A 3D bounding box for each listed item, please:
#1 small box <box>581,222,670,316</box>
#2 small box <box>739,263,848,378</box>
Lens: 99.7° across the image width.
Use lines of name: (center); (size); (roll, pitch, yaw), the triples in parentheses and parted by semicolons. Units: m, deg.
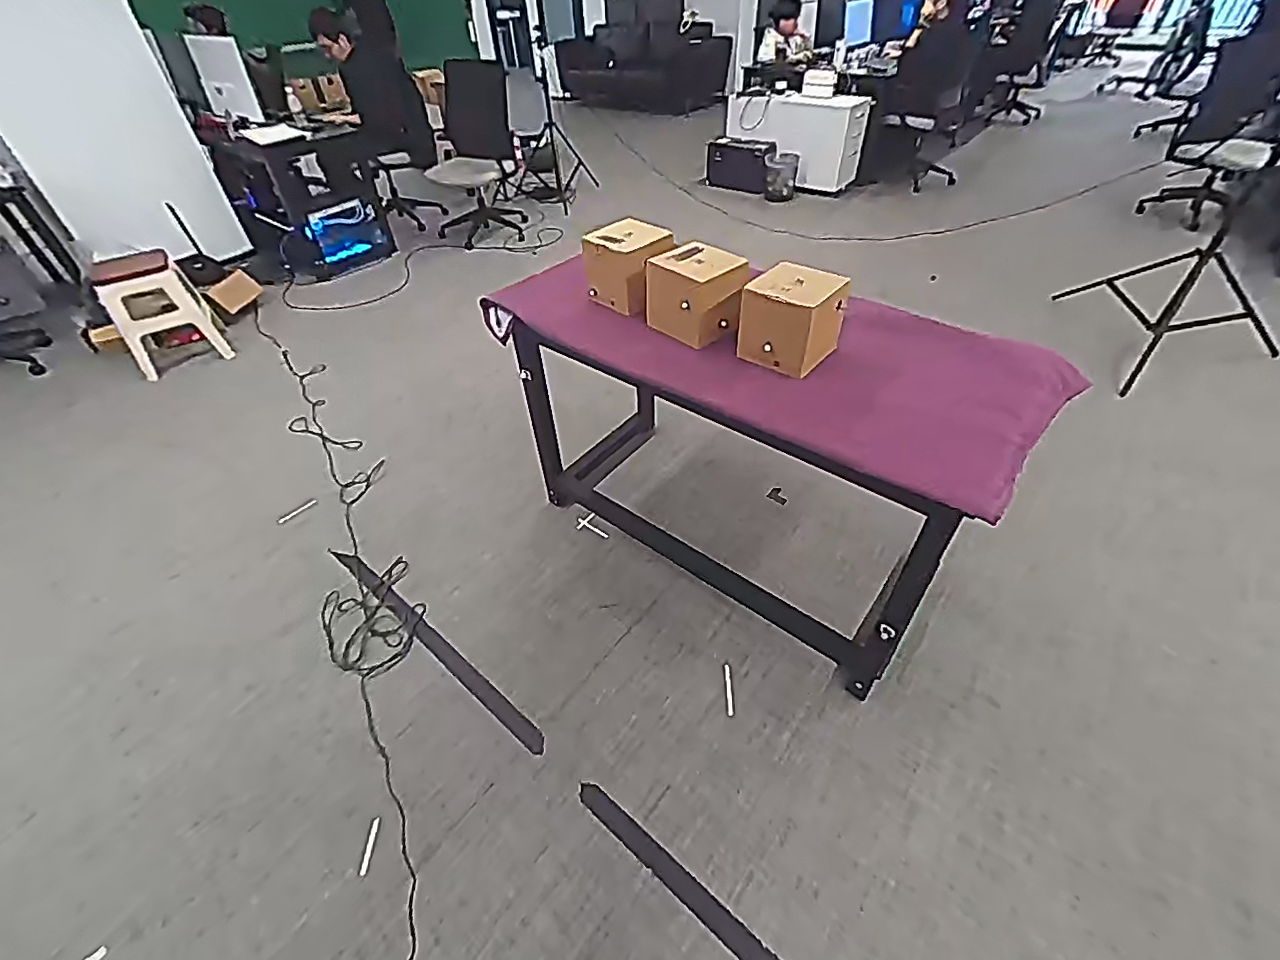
small box: (-0.032, -0.559, 1.436); (0.168, 0.176, 0.179); (34, 55, 32)
small box: (0.333, -0.356, 1.203); (0.168, 0.176, 0.179); (29, 52, 30)
